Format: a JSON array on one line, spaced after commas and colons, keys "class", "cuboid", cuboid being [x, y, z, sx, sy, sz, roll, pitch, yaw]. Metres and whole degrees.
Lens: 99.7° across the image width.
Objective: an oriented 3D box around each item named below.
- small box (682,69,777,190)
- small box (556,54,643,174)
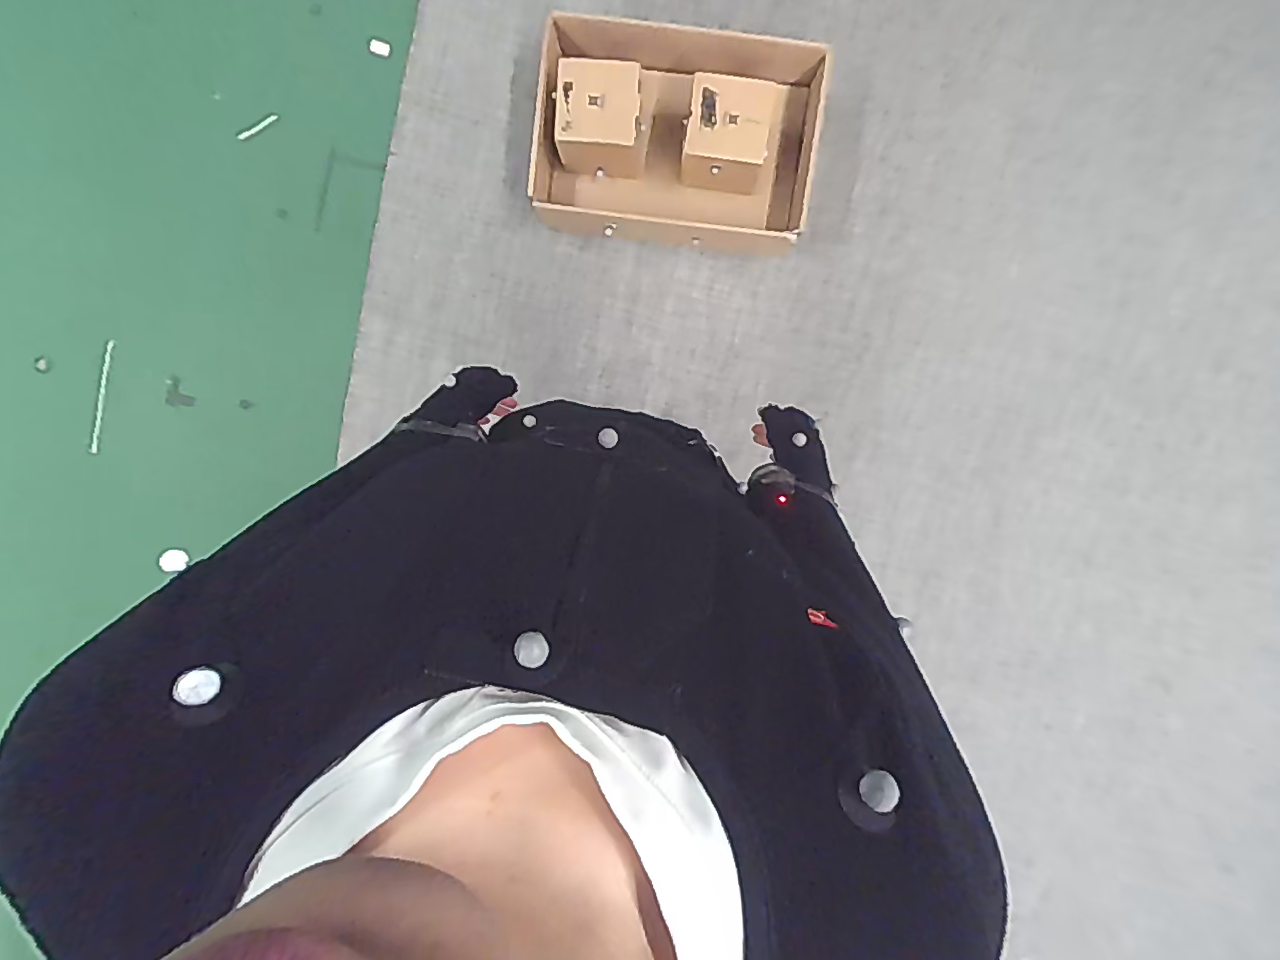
[{"class": "small box", "cuboid": [0.192, -0.780, 1.221, 0.179, 0.176, 0.168, 9, 98, 1]}, {"class": "small box", "cuboid": [-0.087, -0.816, 1.225, 0.179, 0.176, 0.168, 5, 97, 0]}]
